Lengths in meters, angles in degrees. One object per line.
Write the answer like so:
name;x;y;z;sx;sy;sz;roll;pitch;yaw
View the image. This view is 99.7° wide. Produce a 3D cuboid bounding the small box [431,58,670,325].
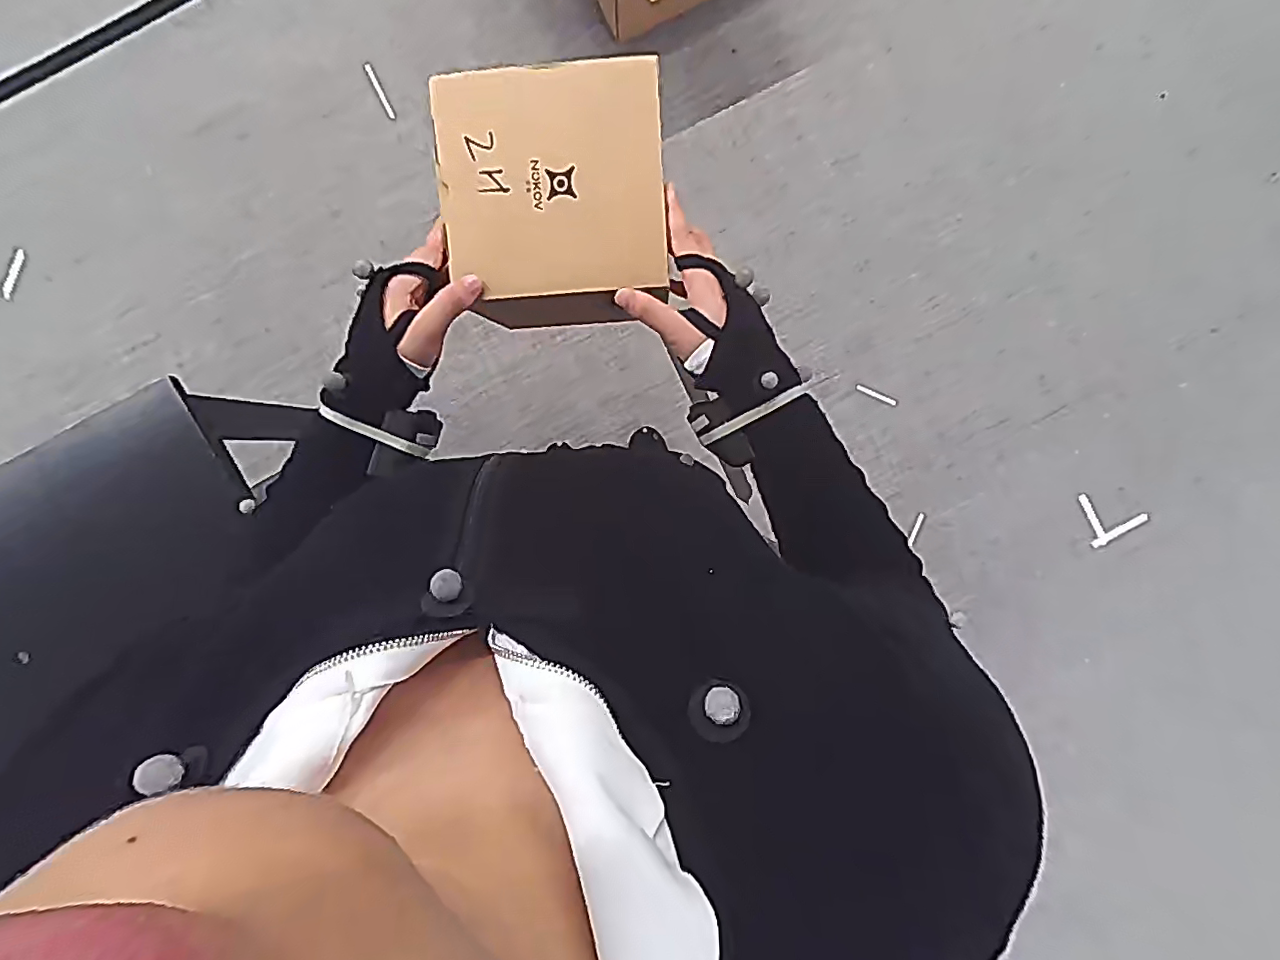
small box;-0.065;-0.240;0.493;0.179;0.176;0.168;-3;98;3
